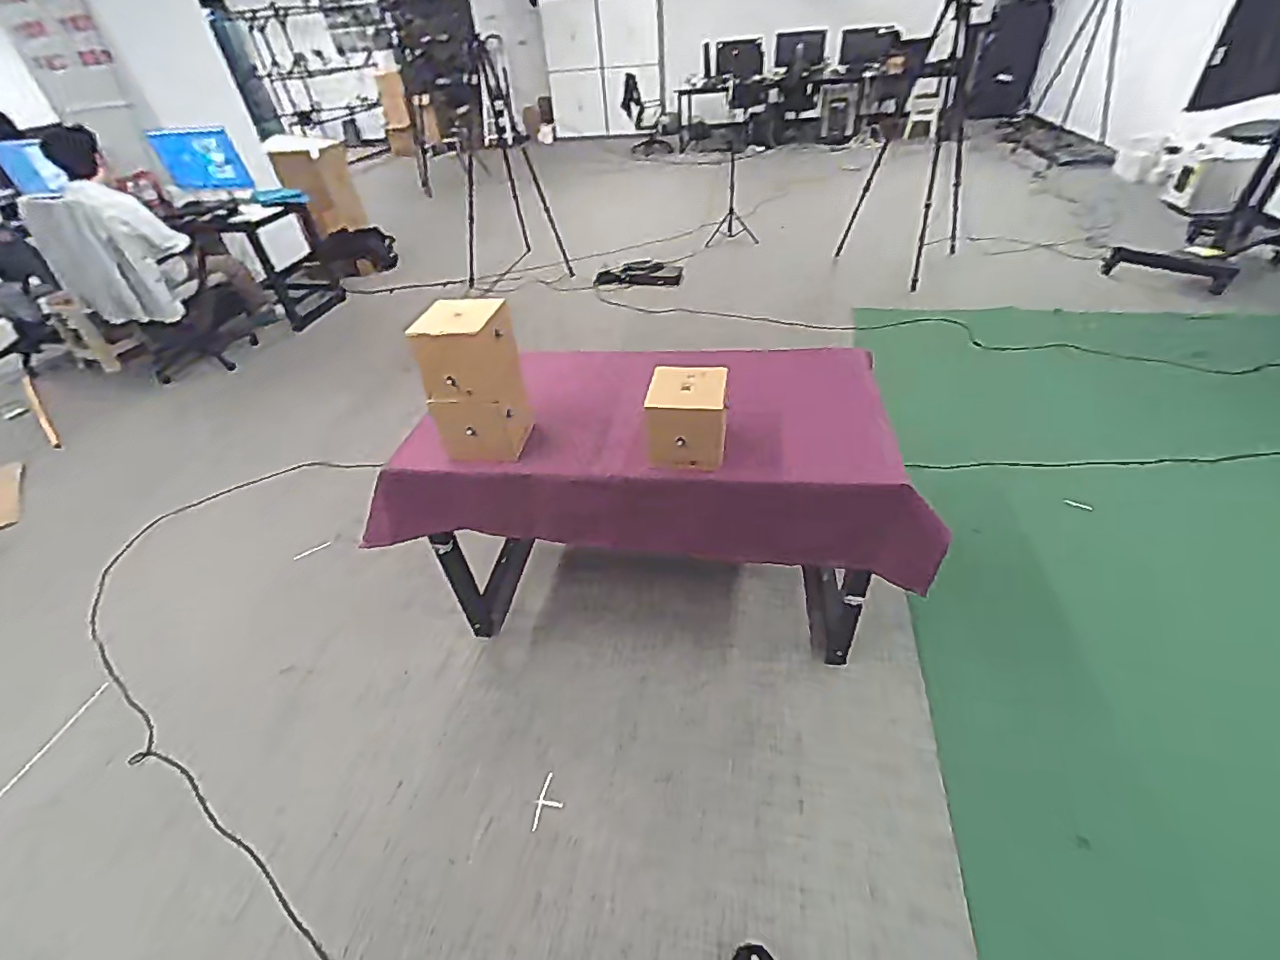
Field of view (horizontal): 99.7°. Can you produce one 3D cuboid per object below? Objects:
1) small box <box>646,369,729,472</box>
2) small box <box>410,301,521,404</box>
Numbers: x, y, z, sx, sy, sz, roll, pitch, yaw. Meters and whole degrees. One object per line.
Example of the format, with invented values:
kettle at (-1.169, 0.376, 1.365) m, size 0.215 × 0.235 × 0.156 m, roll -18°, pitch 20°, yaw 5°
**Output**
small box at (0.114, -0.136, 1.234) m, size 0.168 × 0.176 × 0.179 m, roll 4°, pitch 41°, yaw 11°
small box at (-0.379, -0.288, 1.215) m, size 0.168 × 0.176 × 0.179 m, roll 2°, pitch 41°, yaw 9°
